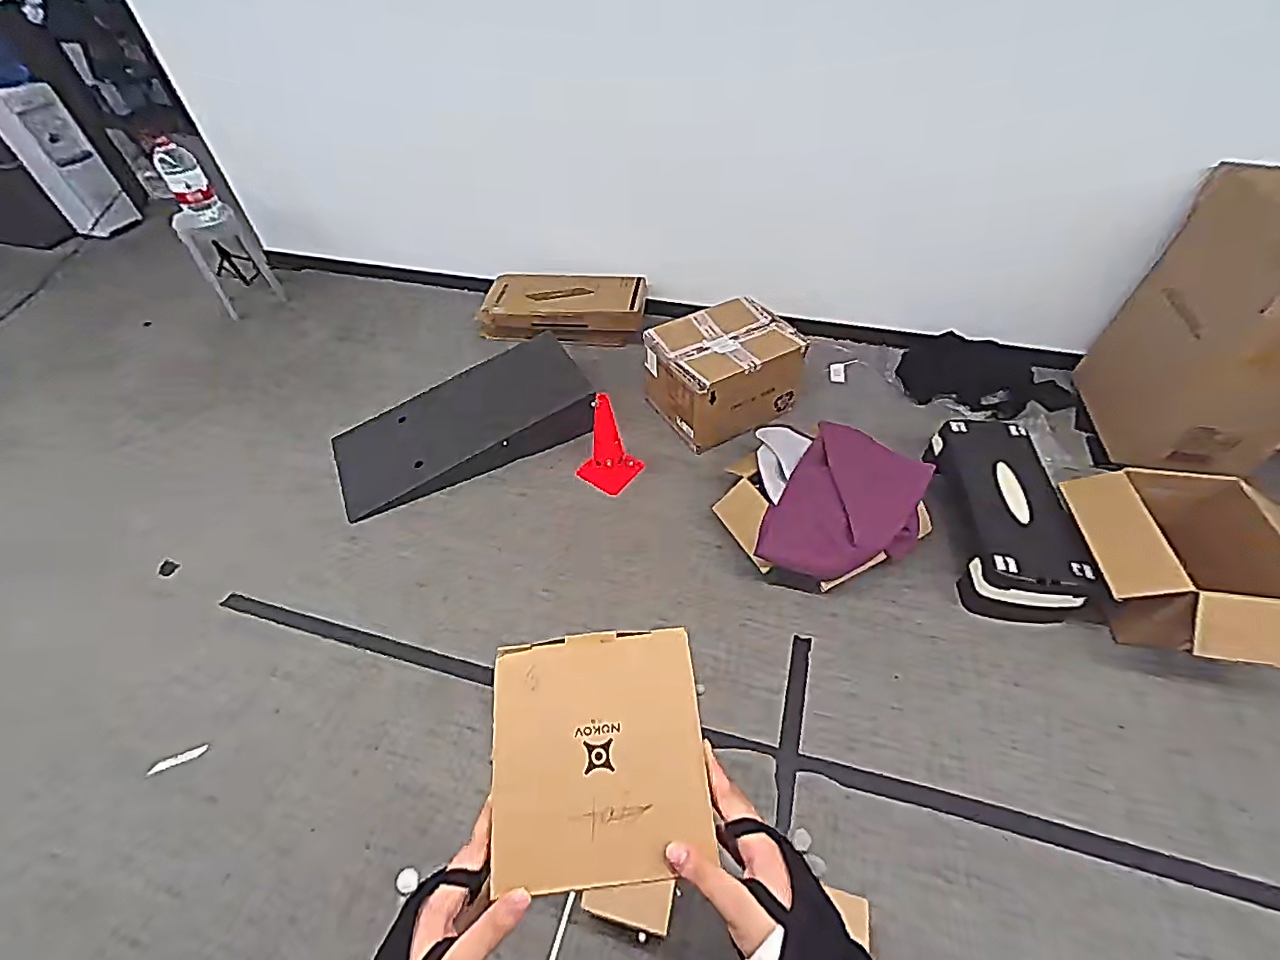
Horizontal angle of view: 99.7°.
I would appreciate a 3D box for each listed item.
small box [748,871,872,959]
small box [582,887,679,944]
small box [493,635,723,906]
[{"bbox_3d":[0.288,0.814,0.938,0.179,0.176,0.168,11,50,11],"label":"small box"},{"bbox_3d":[-0.007,0.847,1.140,0.179,0.176,0.168,9,49,11],"label":"small box"},{"bbox_3d":[-0.028,0.252,0.489,0.168,0.176,0.179,-6,63,-1],"label":"small box"}]
